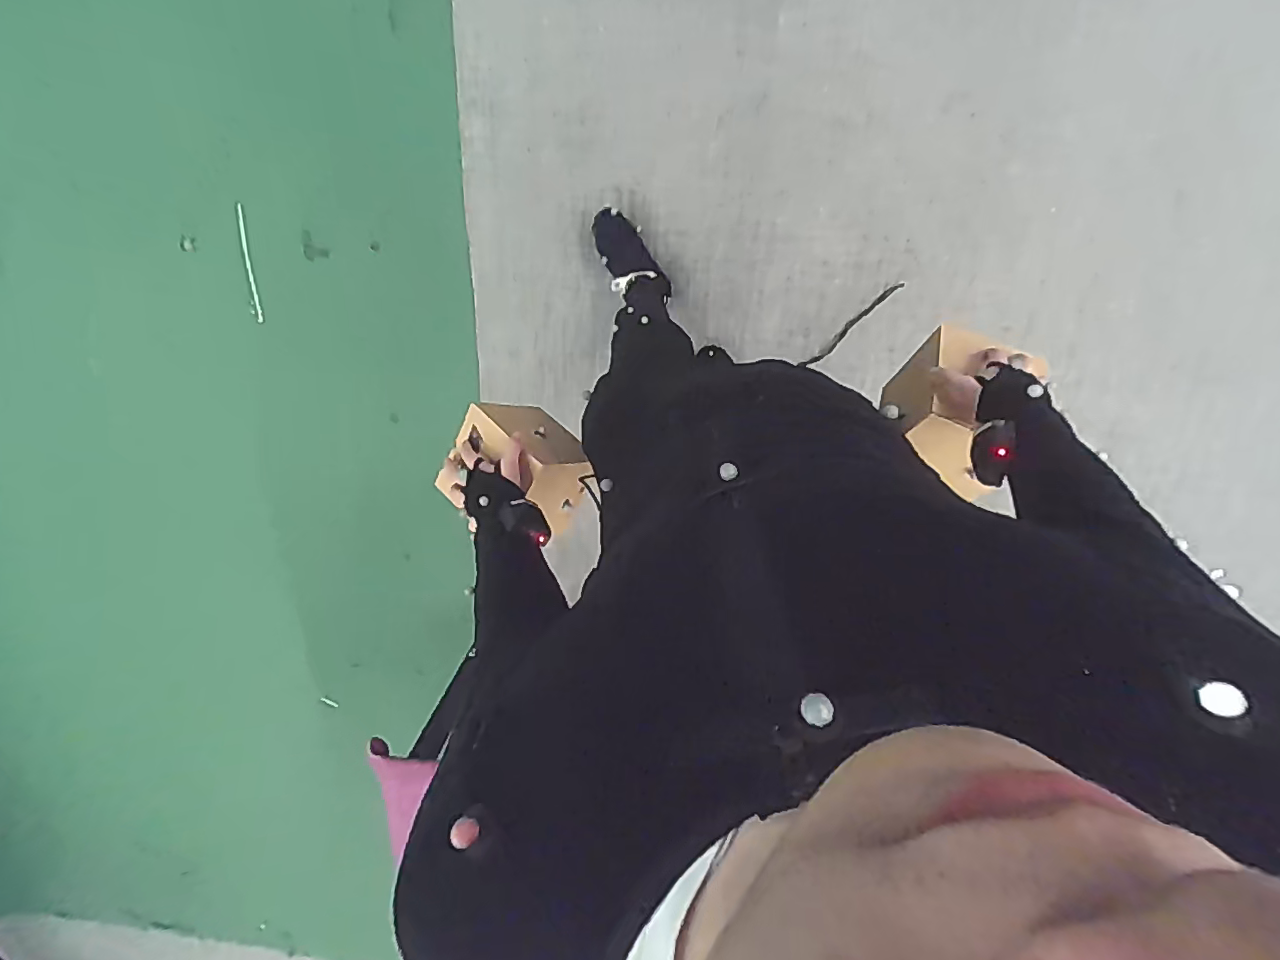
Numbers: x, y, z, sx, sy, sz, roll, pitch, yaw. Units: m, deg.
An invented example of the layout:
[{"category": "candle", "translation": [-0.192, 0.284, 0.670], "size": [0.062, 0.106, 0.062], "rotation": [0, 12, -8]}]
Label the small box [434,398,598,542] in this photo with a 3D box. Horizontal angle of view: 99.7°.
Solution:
[{"category": "small box", "translation": [-0.206, -0.020, 0.918], "size": [0.179, 0.176, 0.168], "rotation": [39, 111, 21]}]

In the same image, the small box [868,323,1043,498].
[{"category": "small box", "translation": [0.474, -0.097, 0.829], "size": [0.168, 0.179, 0.176], "rotation": [22, 153, 2]}]
